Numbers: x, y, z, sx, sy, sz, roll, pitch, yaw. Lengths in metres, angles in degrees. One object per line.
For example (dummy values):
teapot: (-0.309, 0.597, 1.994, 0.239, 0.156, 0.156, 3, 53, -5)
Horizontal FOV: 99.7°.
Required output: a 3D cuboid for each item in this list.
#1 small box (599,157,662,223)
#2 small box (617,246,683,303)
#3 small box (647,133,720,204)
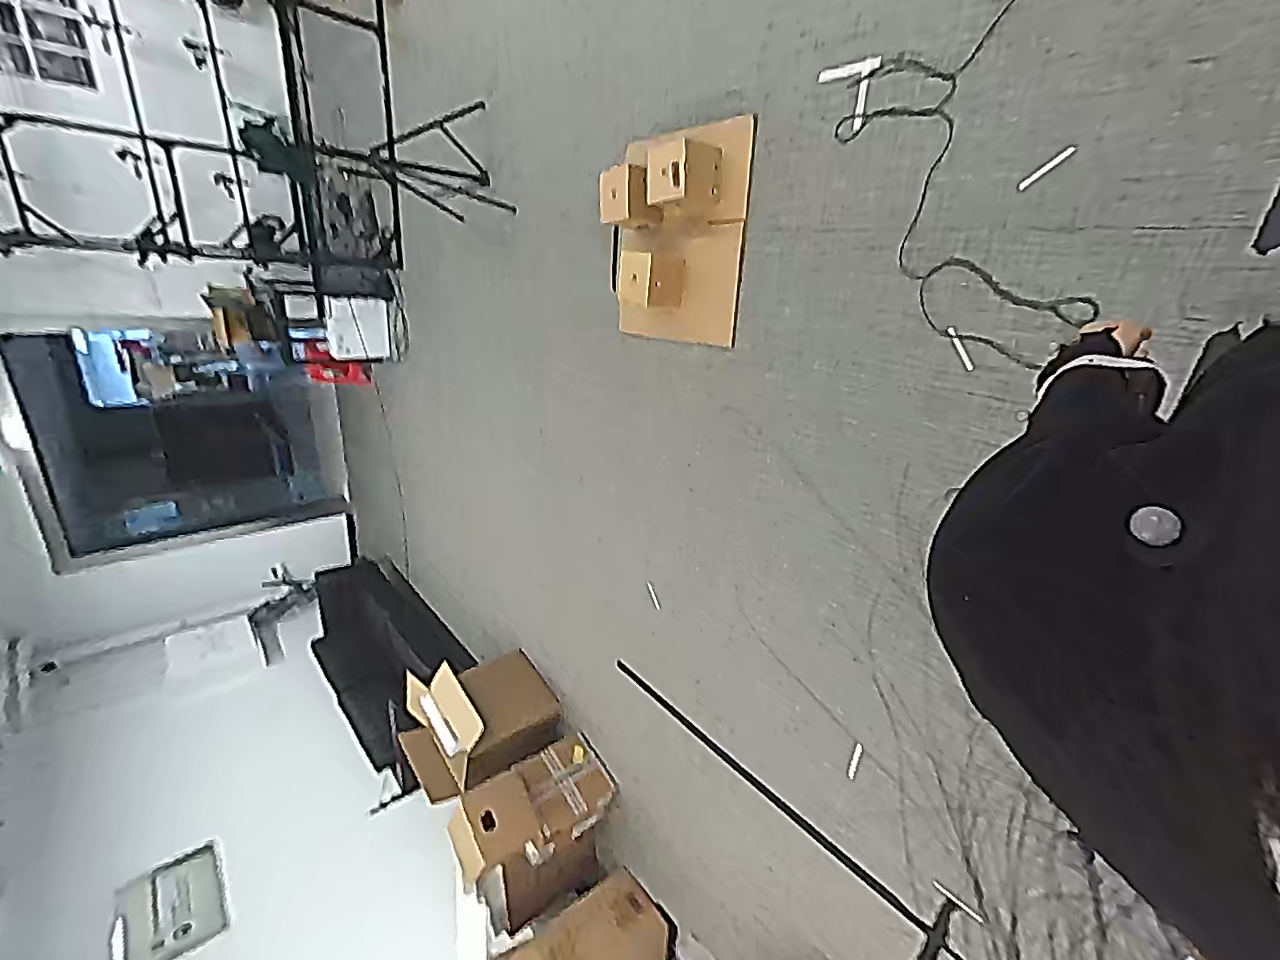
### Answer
small box: (-0.030, -1.039, 1.951, 0.168, 0.176, 0.179, 18, 115, 47)
small box: (0.039, -0.742, 1.955, 0.168, 0.176, 0.179, 28, 122, 42)
small box: (0.141, -1.004, 1.757, 0.179, 0.176, 0.168, 19, 115, 45)
